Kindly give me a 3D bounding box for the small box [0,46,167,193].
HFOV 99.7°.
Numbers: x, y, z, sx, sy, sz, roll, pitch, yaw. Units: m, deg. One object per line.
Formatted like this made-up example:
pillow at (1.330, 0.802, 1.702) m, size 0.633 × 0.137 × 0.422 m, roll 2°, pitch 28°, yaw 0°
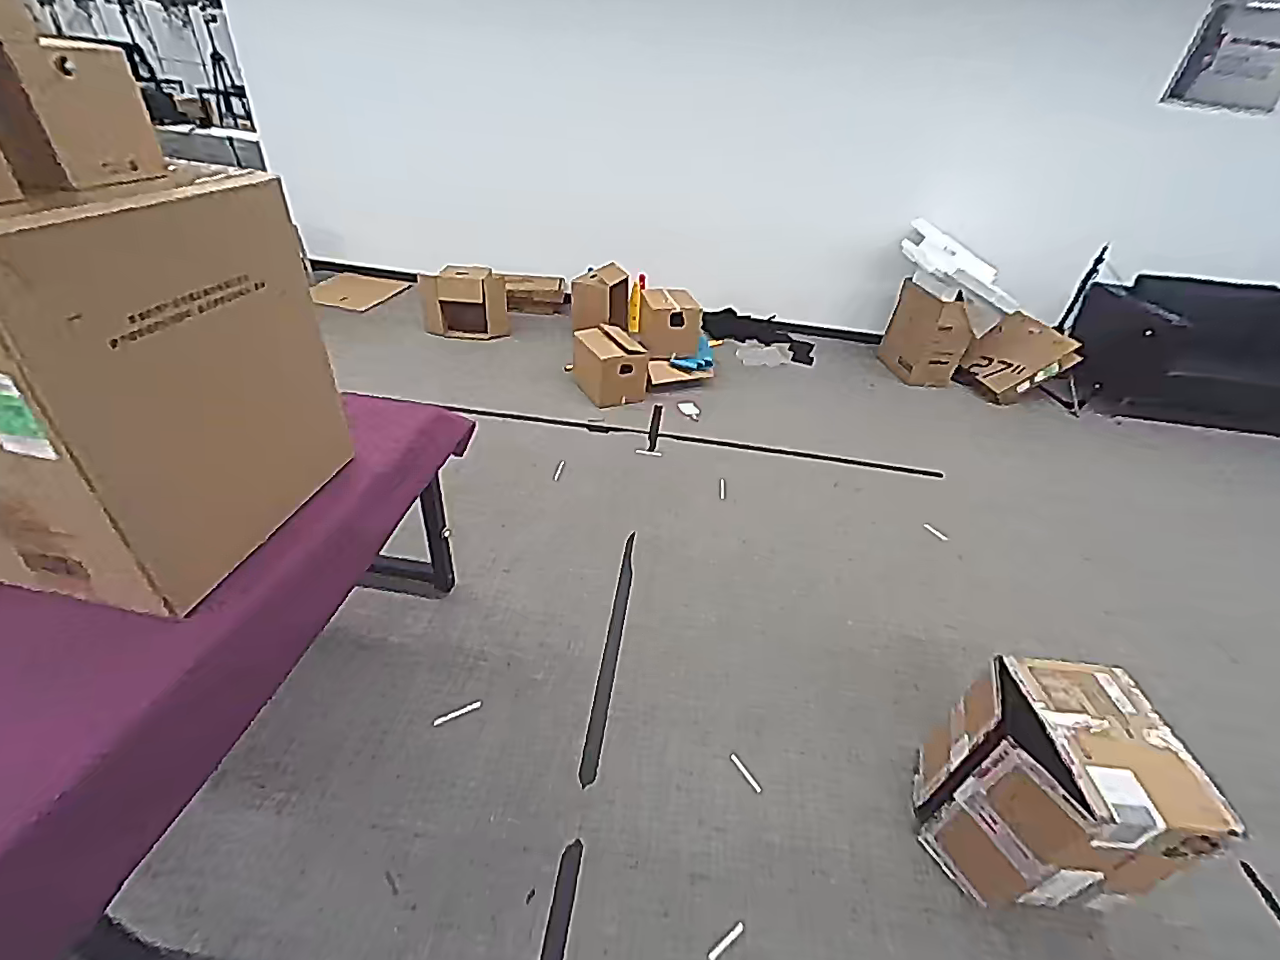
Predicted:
small box at (-0.867, -0.528, 0.791) m, size 0.179 × 0.176 × 0.168 m, roll 9°, pitch 37°, yaw 4°
